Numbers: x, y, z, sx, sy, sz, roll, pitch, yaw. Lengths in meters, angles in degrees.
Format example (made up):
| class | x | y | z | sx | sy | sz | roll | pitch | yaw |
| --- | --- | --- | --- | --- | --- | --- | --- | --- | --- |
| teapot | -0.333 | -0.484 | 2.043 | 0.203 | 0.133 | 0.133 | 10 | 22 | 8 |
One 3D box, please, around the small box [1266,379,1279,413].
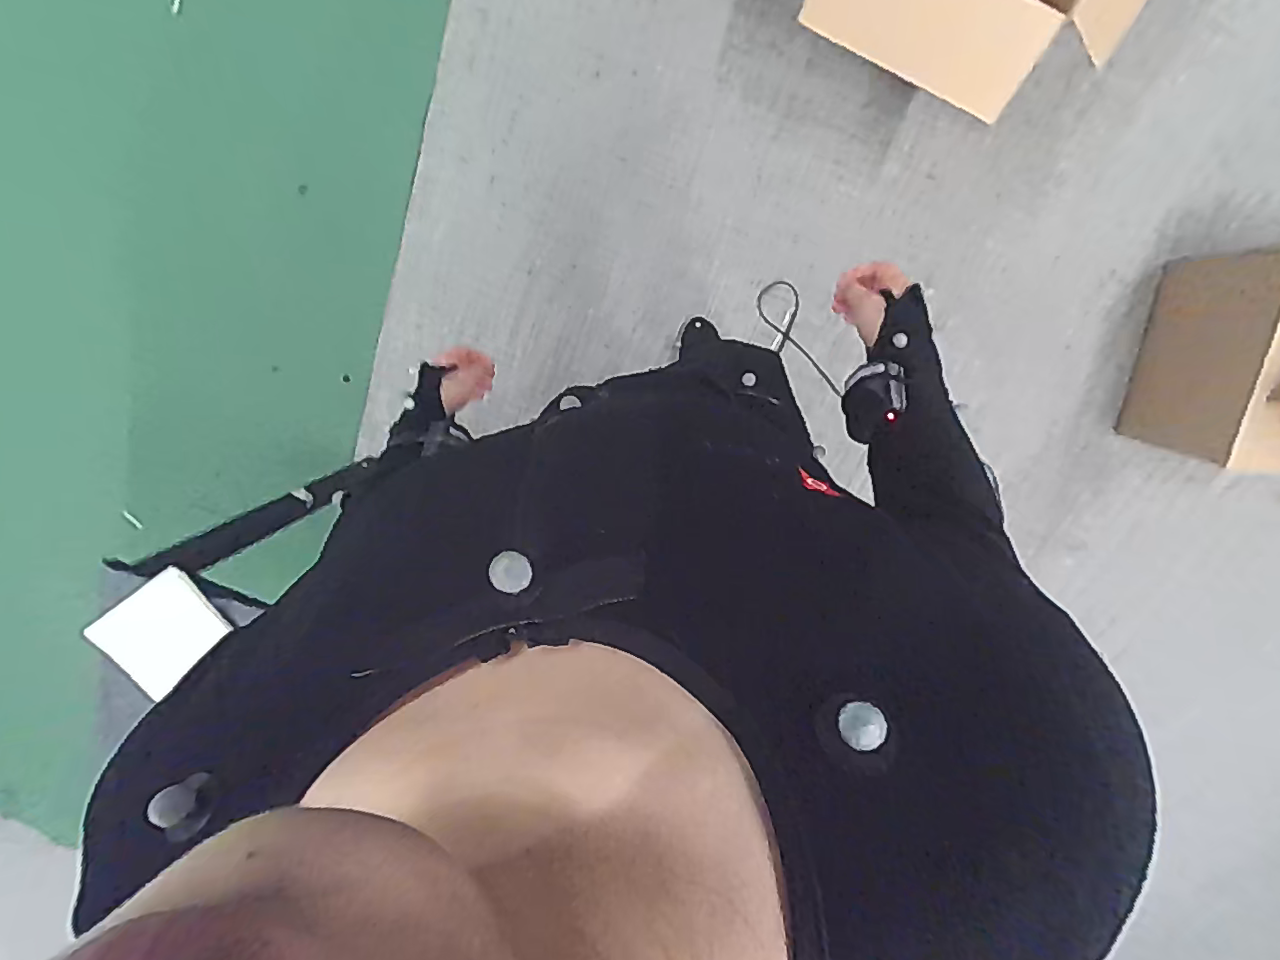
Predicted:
| class | x | y | z | sx | sy | sz | roll | pitch | yaw |
| --- | --- | --- | --- | --- | --- | --- | --- | --- | --- |
| small box | 1.254 | -0.139 | 0.911 | 0.179 | 0.176 | 0.168 | 43 | 108 | -5 |
